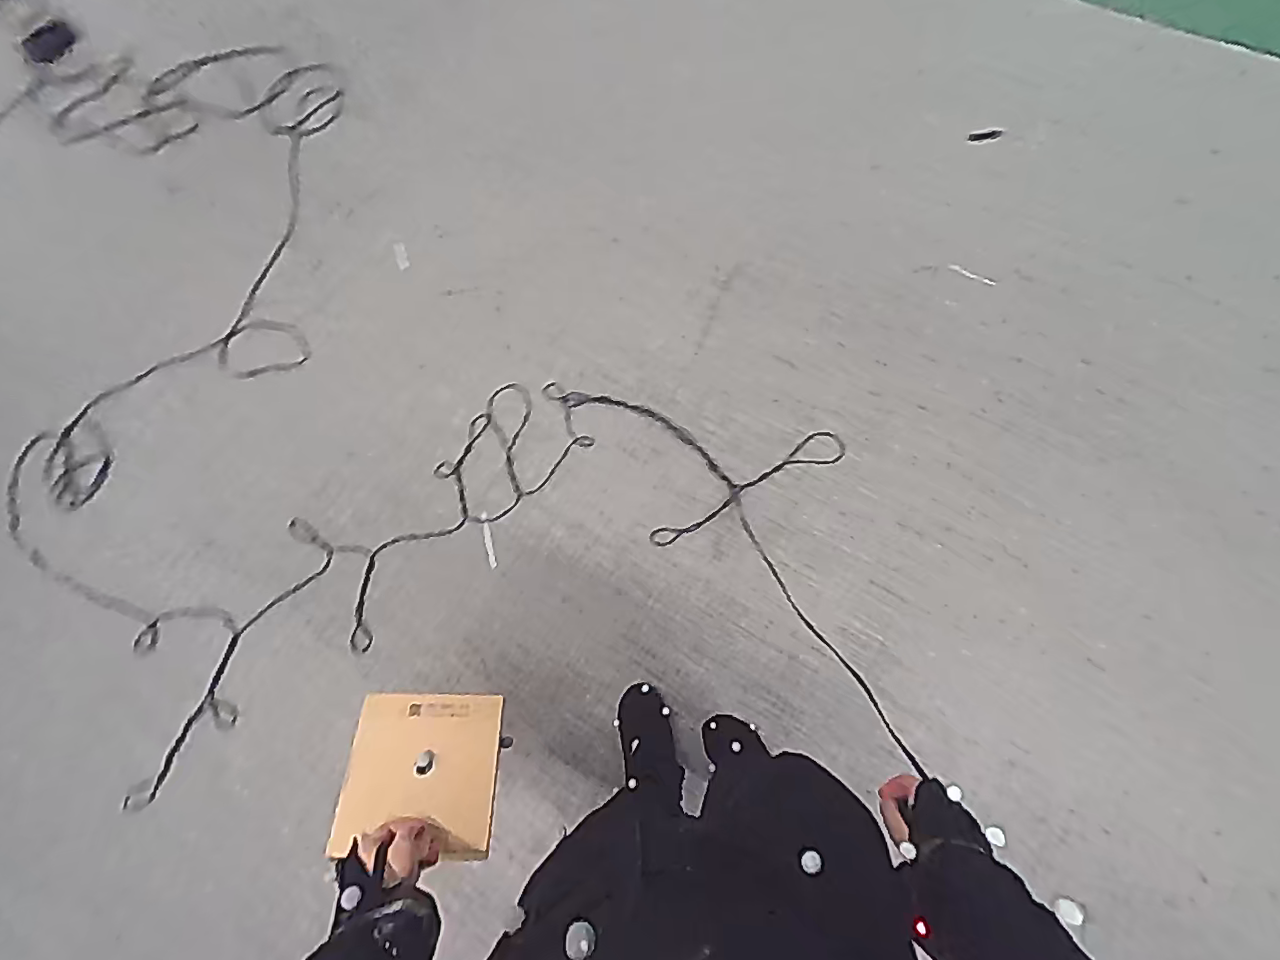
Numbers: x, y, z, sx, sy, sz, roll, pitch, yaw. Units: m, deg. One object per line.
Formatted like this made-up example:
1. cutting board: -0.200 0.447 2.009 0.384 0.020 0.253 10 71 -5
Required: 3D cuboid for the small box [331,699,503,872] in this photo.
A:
1. small box: -0.268 0.385 0.688 0.168 0.179 0.176 5 53 -13
